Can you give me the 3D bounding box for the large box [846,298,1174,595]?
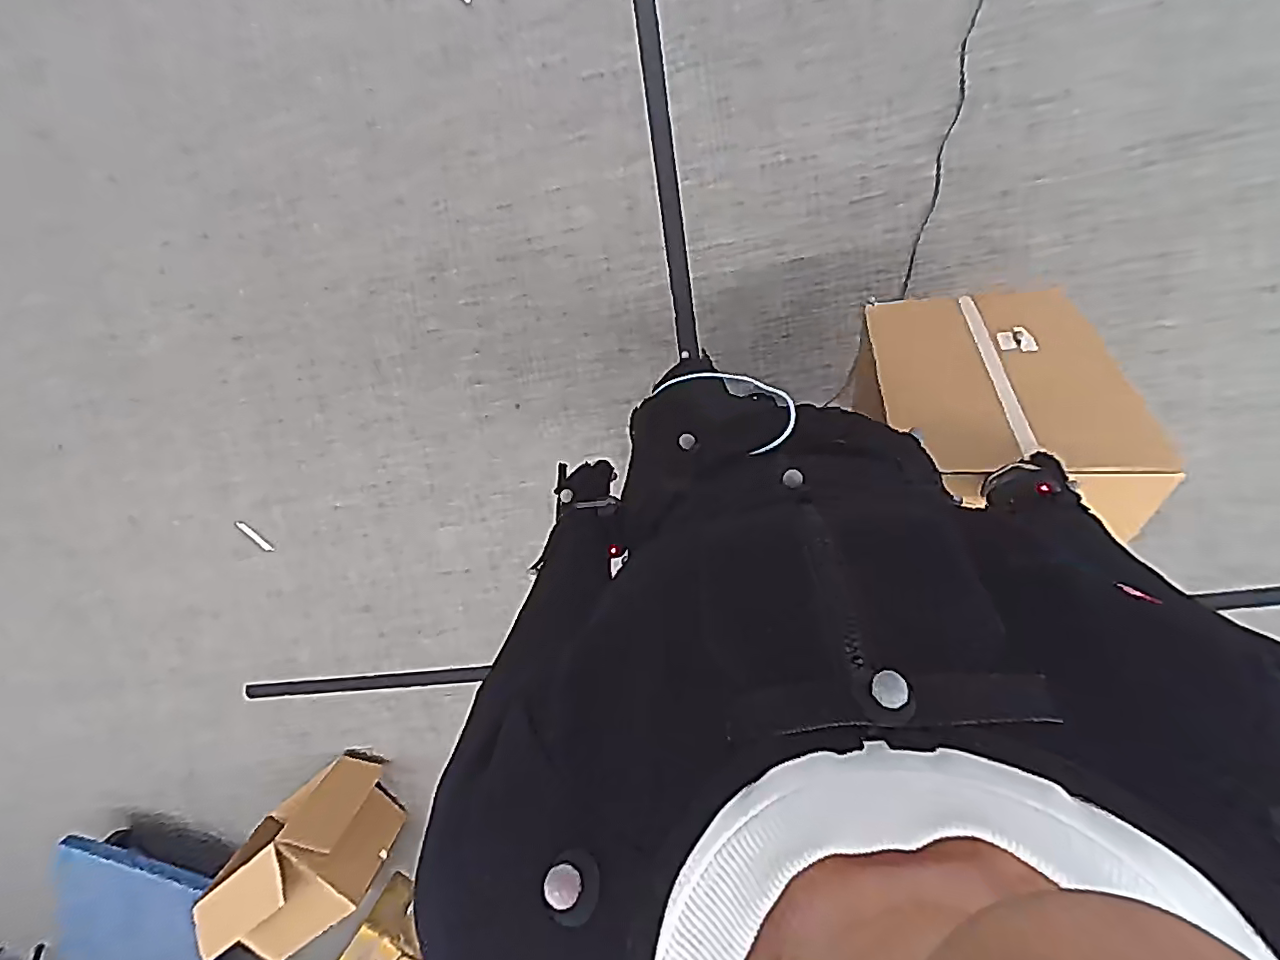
[{"bbox_3d":[0.543,-0.056,0.912,0.320,0.408,0.320,0,137,12],"label":"large box"}]
